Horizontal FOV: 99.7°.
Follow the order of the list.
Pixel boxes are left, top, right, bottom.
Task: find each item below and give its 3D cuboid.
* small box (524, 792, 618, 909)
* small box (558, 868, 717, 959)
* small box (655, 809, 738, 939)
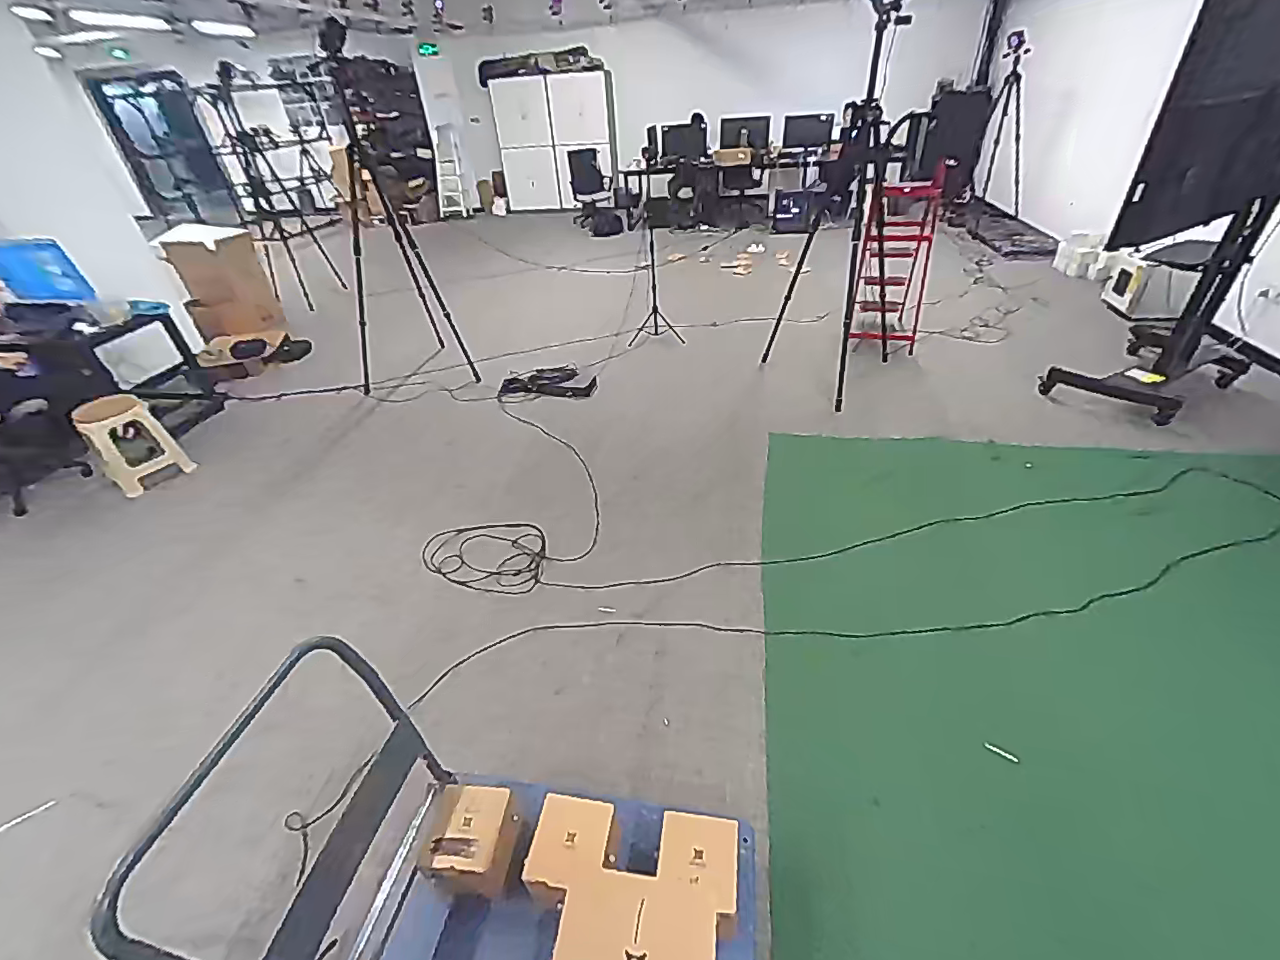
[{"bbox_3d":[-0.149,0.857,1.241,0.168,0.176,0.179,3,38,11],"label":"small box"},{"bbox_3d":[-0.006,0.573,0.599,0.168,0.176,0.179,6,37,6],"label":"small box"},{"bbox_3d":[0.127,0.865,1.191,0.168,0.176,0.179,2,37,11],"label":"small box"}]
